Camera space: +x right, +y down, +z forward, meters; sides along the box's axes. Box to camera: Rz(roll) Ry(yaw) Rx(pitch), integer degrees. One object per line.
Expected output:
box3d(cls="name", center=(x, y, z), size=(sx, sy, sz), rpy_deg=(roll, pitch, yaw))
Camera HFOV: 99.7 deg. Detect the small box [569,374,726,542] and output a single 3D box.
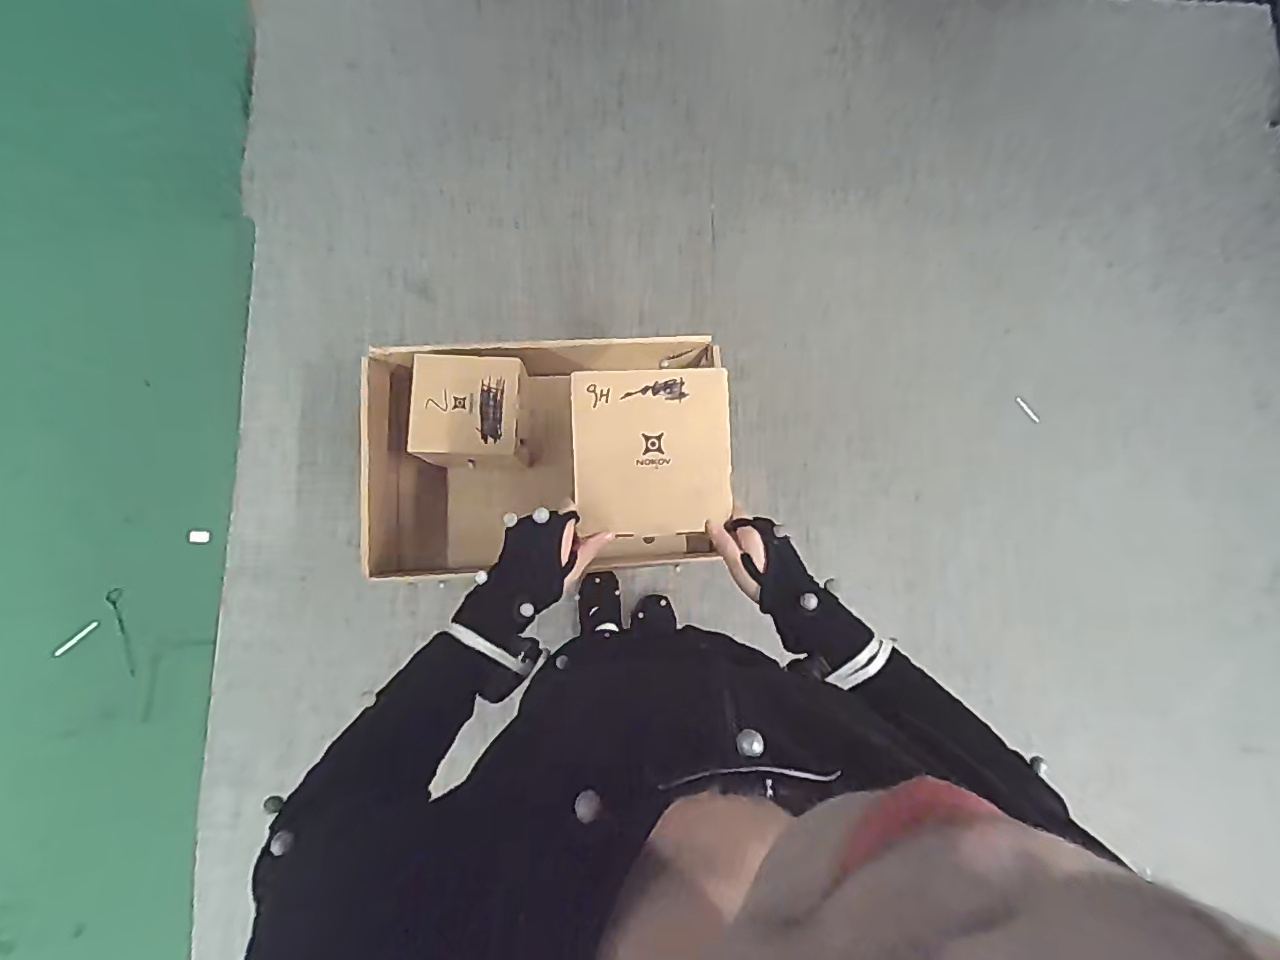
box3d(cls="small box", center=(0.005, -0.023, 0.641), size=(0.168, 0.176, 0.179), rpy_deg=(-1, 89, -3))
